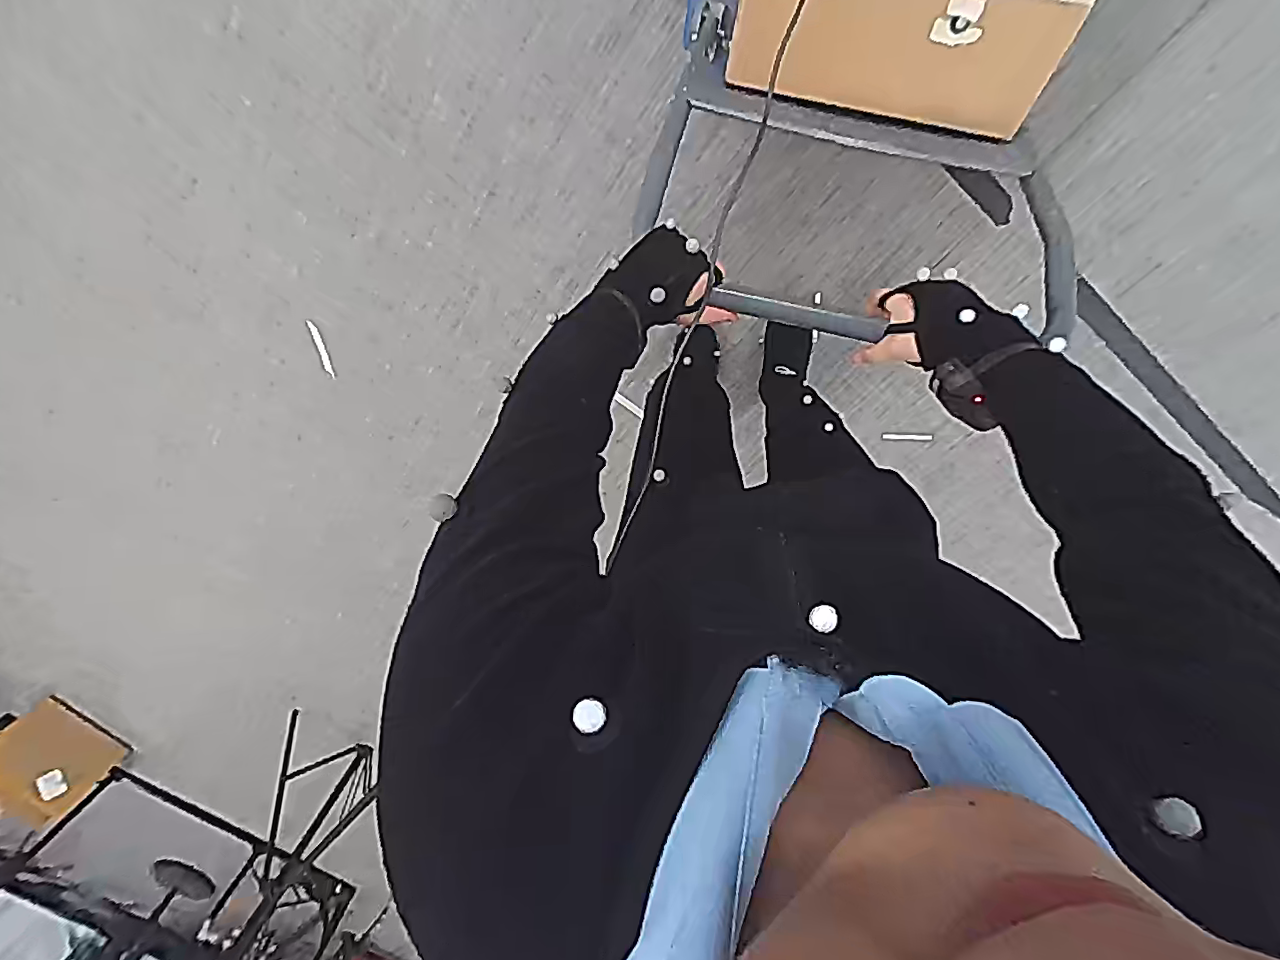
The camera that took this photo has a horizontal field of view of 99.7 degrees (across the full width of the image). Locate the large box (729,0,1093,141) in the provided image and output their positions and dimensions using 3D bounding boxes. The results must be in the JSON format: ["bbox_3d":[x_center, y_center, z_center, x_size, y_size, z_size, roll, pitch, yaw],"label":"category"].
[{"bbox_3d":[0.356,-0.710,0.719,0.408,0.320,0.320,12,143,1],"label":"large box"}]
